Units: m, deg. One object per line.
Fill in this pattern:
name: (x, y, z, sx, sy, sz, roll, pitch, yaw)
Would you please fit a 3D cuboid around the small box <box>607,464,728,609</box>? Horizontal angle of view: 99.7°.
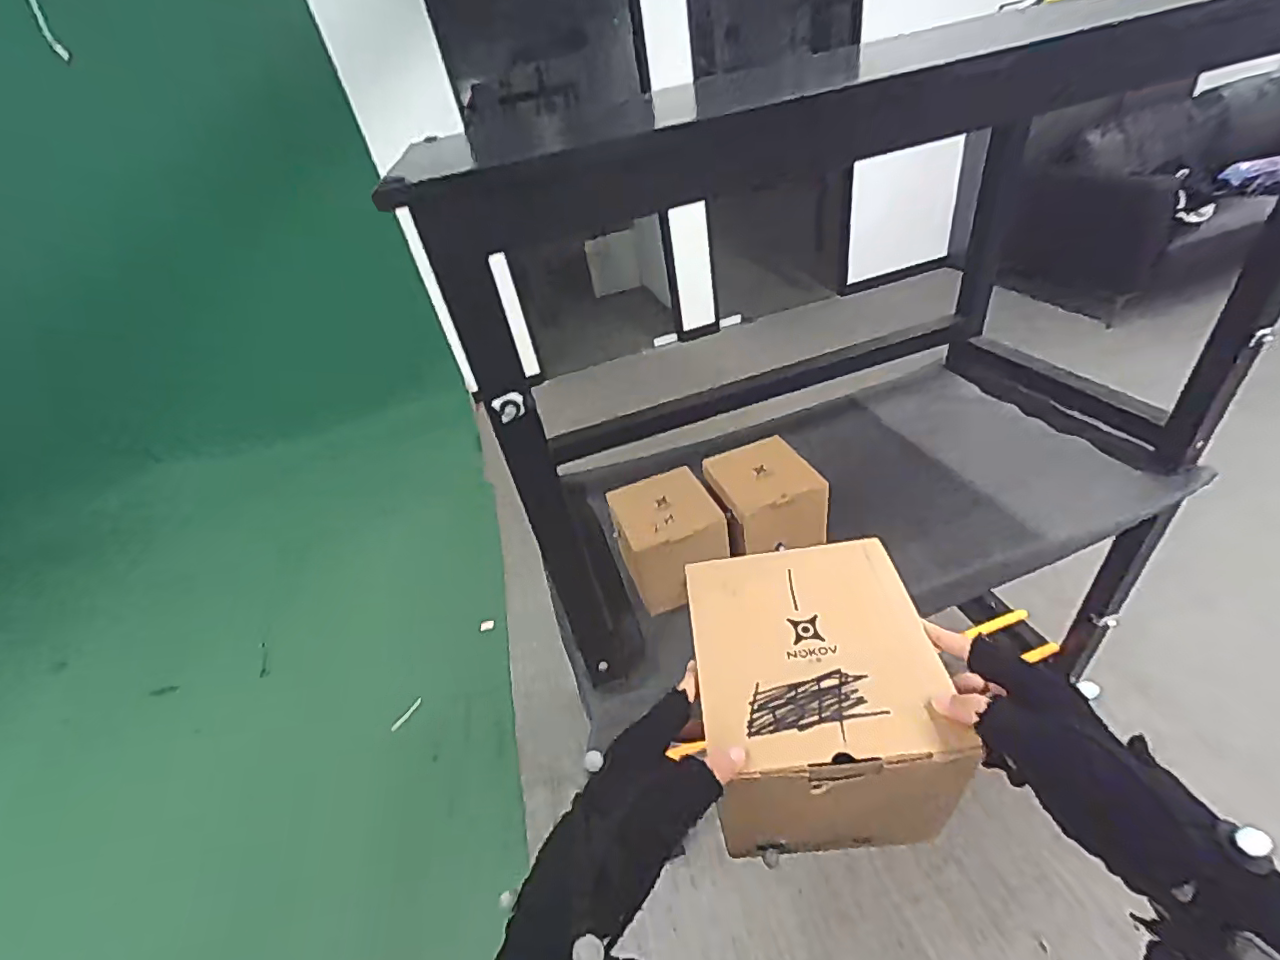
small box: (0.050, 0.103, 0.995, 0.168, 0.176, 0.179, -19, 37, -9)
